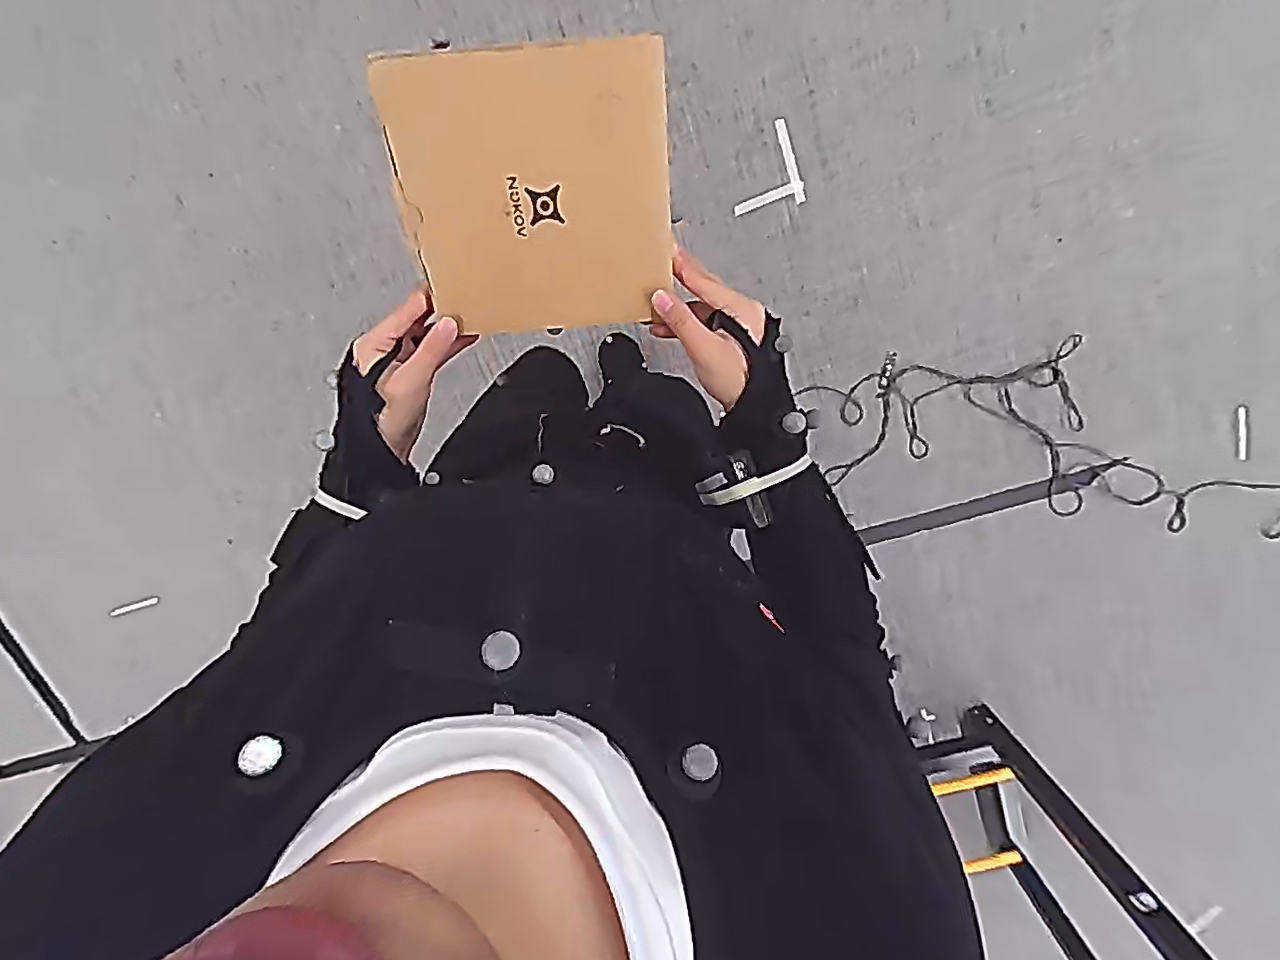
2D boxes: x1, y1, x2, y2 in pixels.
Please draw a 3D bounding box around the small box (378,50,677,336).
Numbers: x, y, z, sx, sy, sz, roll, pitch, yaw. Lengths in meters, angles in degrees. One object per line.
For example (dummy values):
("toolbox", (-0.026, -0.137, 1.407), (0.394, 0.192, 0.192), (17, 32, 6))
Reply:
("small box", (-0.066, -0.225, 0.424), (0.179, 0.176, 0.168), (-3, 124, 1))
